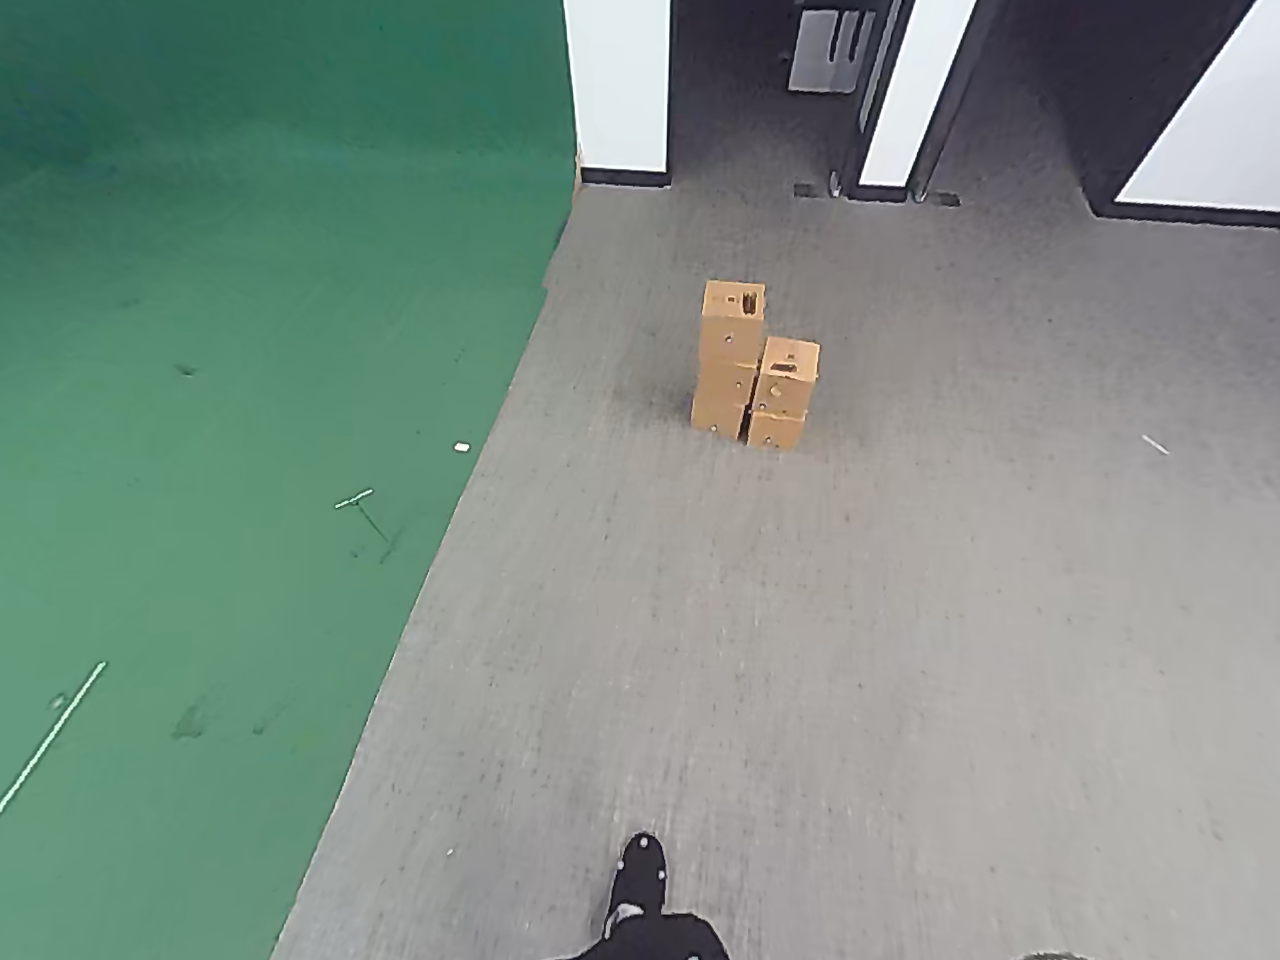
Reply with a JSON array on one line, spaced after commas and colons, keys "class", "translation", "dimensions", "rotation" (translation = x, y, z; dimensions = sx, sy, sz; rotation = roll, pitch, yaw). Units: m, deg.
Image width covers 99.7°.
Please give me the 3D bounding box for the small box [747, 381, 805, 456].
[{"class": "small box", "translation": [0.461, -0.209, 1.844], "dimensions": [0.168, 0.176, 0.179], "rotation": [7, 57, 6]}]
